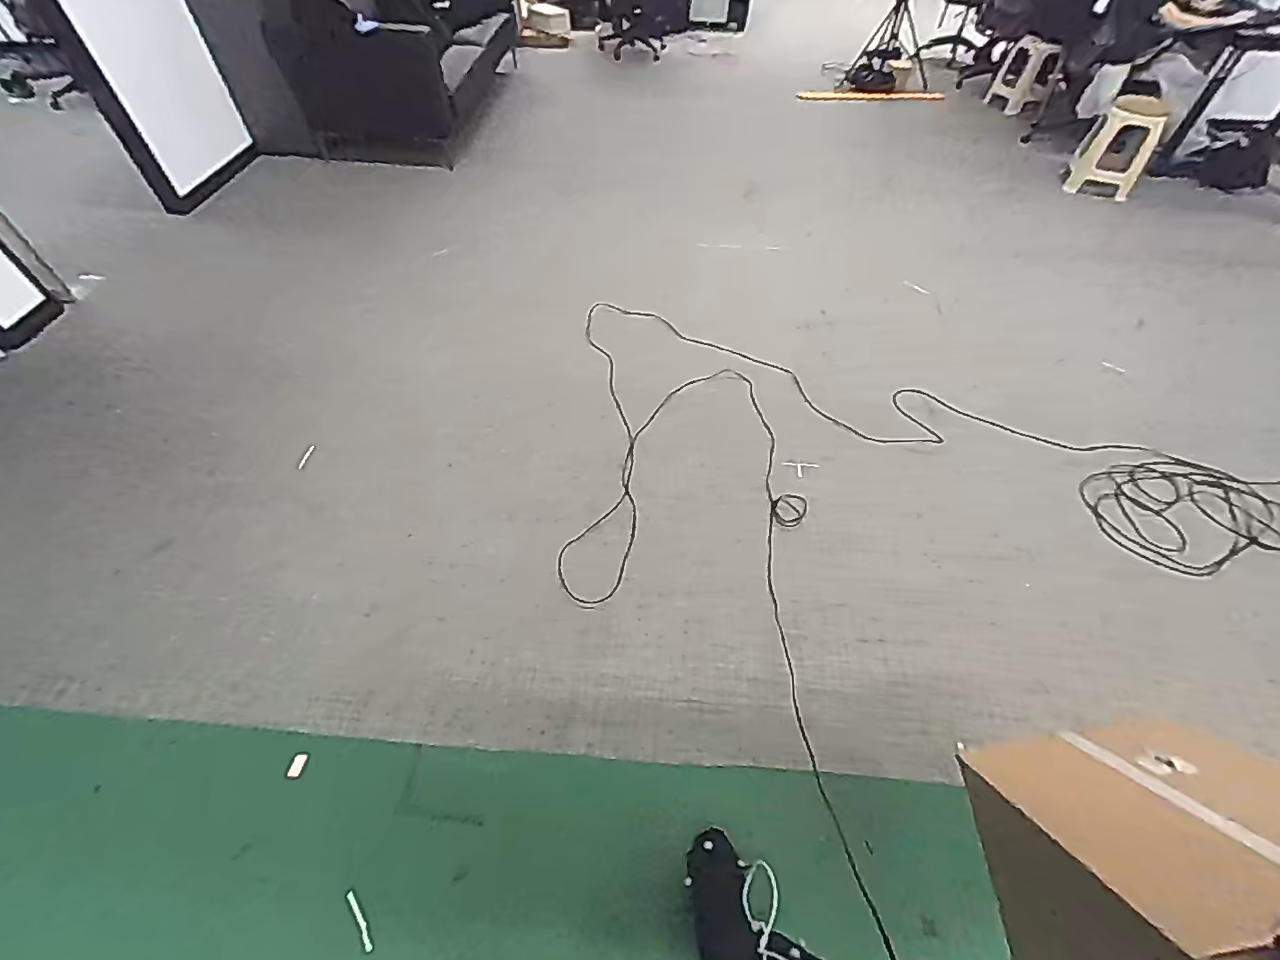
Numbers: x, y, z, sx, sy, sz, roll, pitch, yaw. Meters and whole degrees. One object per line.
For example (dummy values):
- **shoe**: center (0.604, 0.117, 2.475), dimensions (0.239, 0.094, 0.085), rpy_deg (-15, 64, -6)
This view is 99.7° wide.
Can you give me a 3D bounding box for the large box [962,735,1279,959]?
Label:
- **large box**: center (0.661, 0.546, 0.615), dimensions (0.320, 0.408, 0.320), rpy_deg (-12, 84, 4)
